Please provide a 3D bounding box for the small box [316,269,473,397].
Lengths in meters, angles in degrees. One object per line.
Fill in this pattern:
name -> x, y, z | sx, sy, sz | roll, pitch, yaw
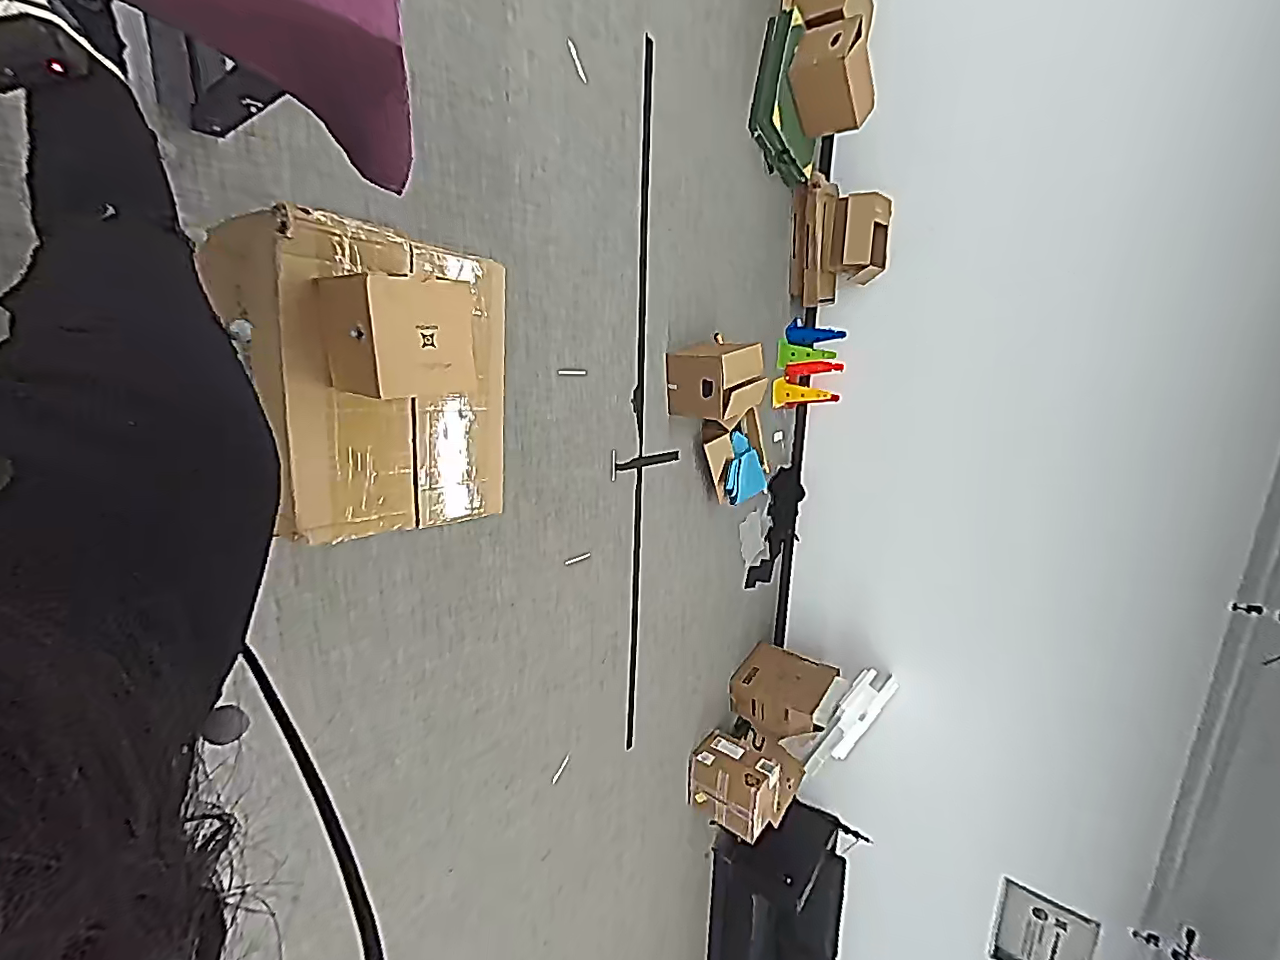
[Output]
small box -> -0.387, -0.230, 0.854 | 0.168, 0.176, 0.179 | -17, 114, -48
